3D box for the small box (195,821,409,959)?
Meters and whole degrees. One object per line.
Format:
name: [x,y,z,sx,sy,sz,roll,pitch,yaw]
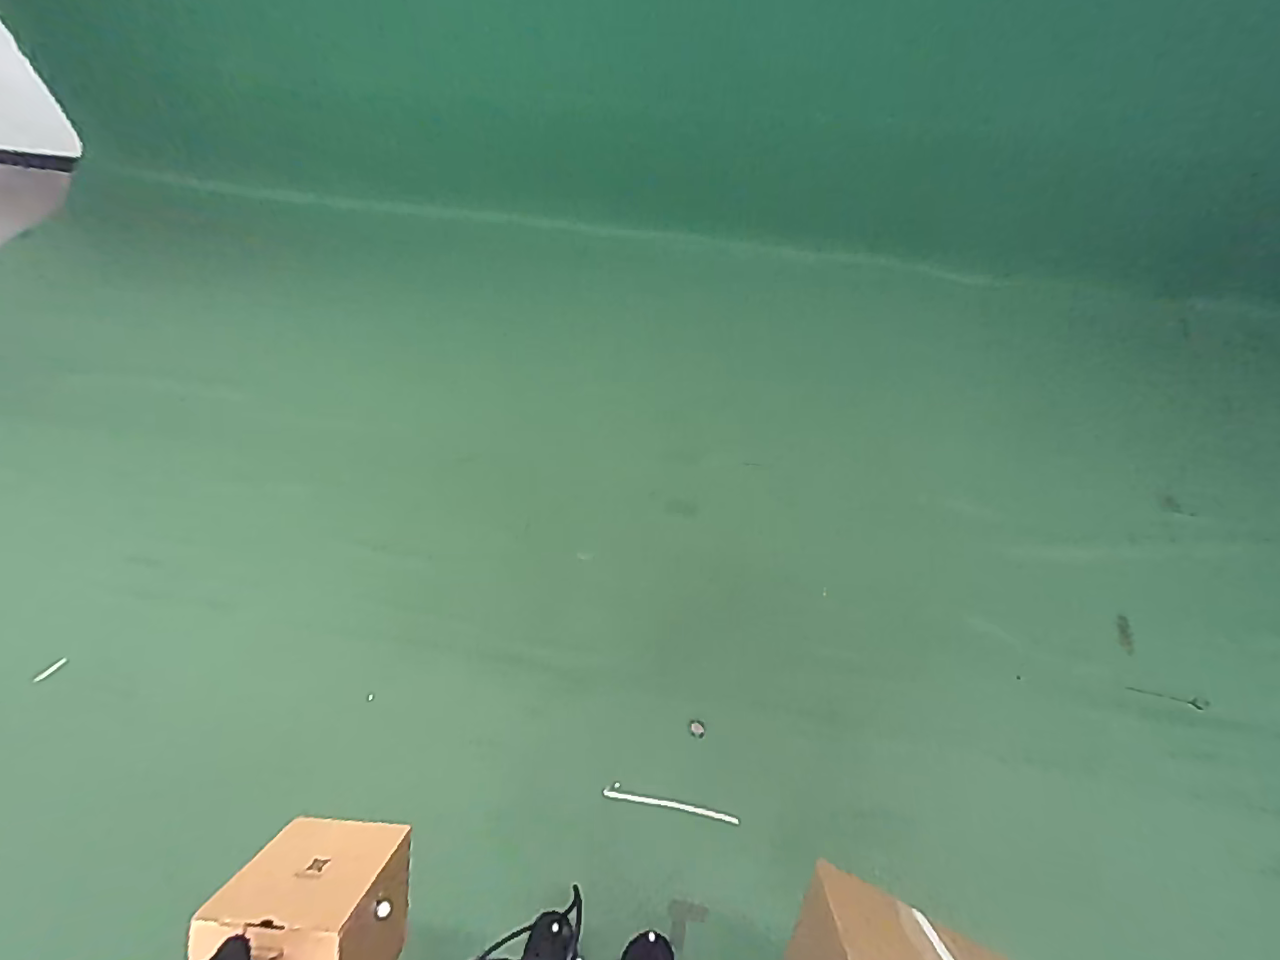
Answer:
small box: [-0.409,0.566,0.669,0.168,0.179,0.176,3,92,1]
